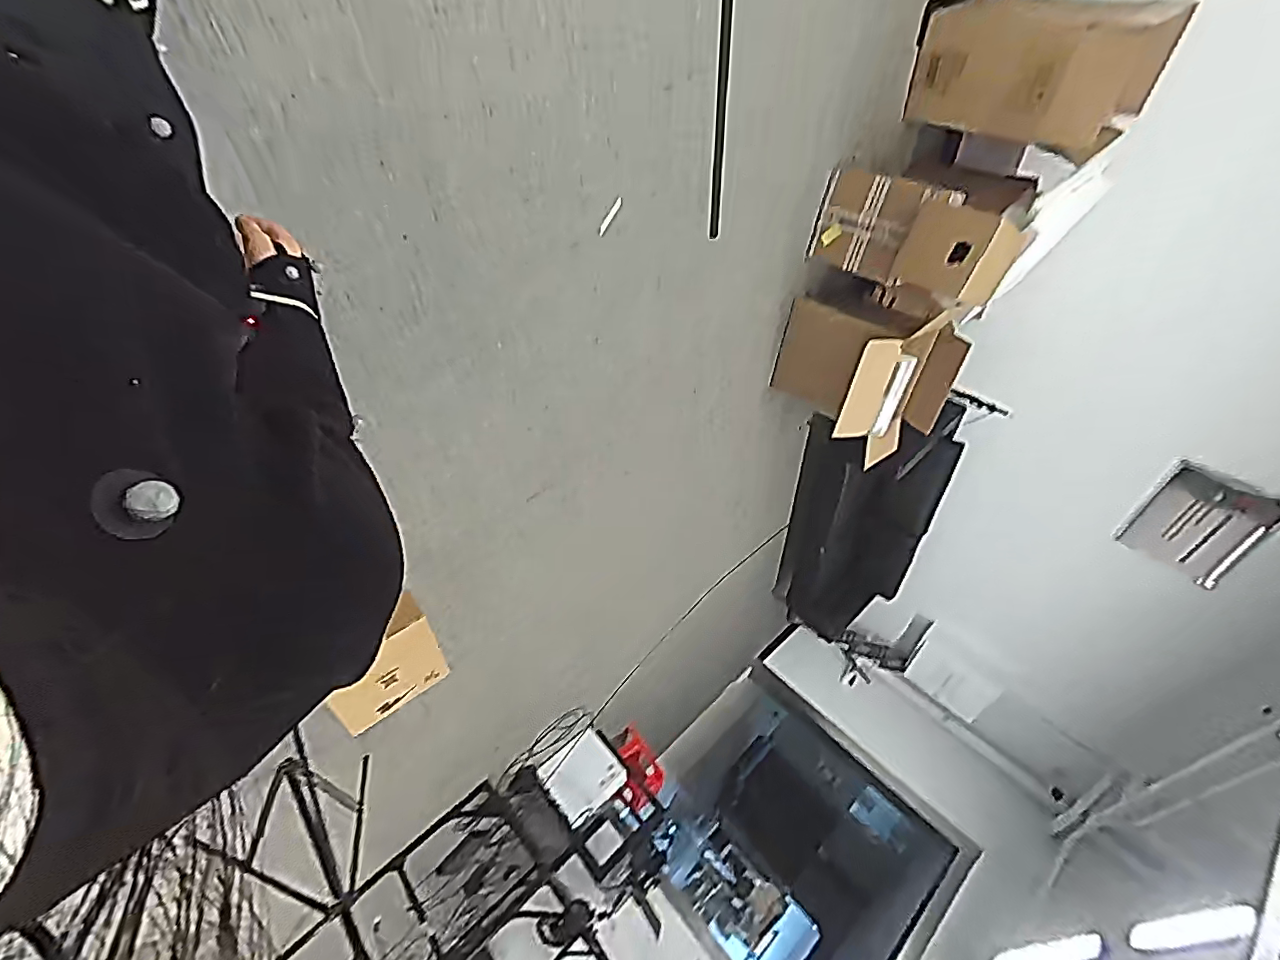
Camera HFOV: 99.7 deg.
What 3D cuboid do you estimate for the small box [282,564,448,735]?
[{"bbox_3d":[-0.440,0.259,0.872,0.168,0.176,0.179,-30,140,-30],"label":"small box"}]
